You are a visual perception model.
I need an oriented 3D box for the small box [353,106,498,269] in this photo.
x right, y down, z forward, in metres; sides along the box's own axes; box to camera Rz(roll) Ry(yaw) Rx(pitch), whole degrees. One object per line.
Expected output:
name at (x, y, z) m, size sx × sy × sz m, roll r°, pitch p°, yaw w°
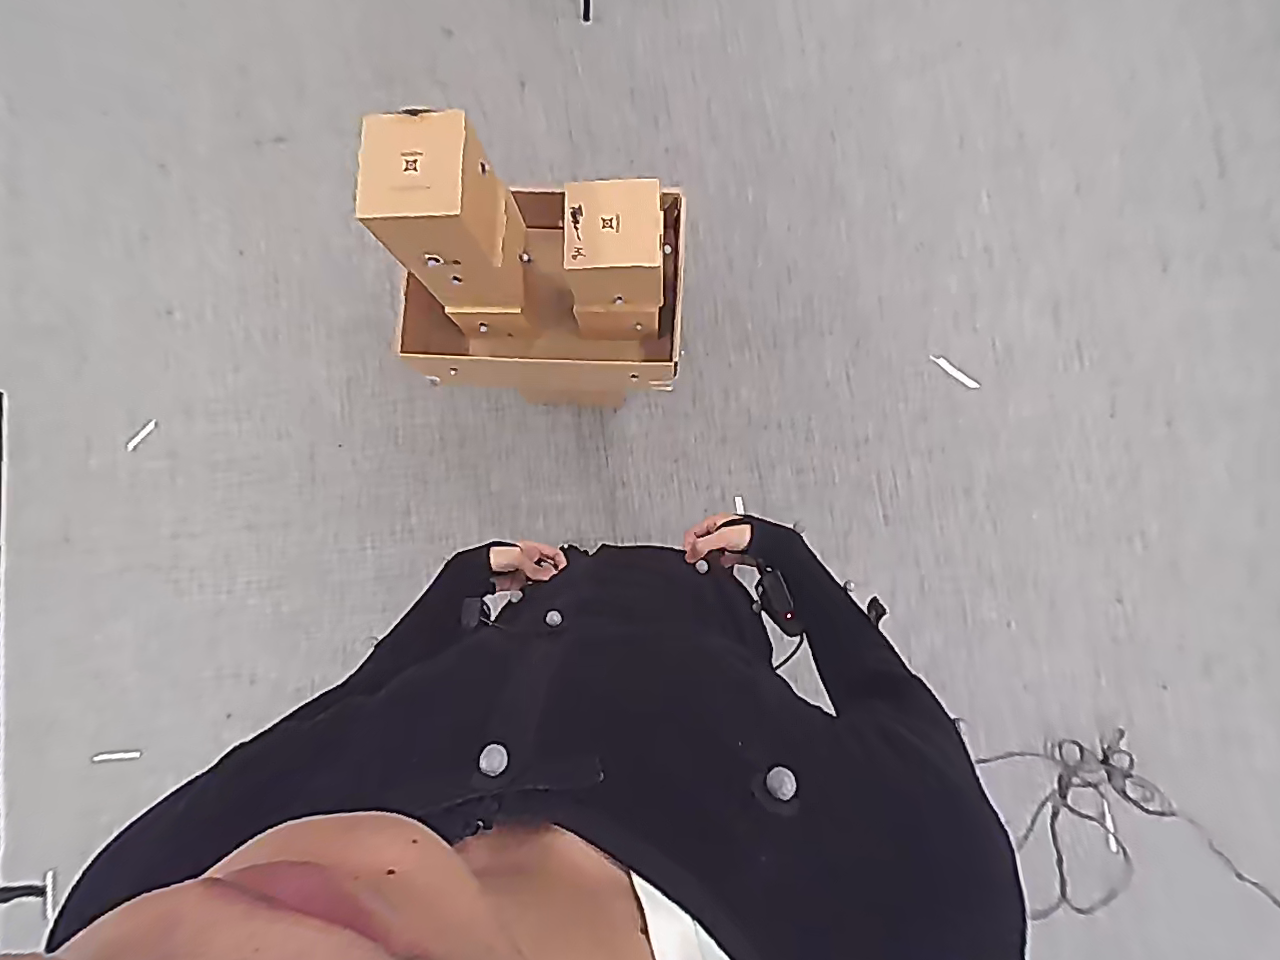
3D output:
small box at (-0.340, -0.473, 0.891) m, size 0.168 × 0.176 × 0.179 m, roll 1°, pitch 83°, yaw 4°

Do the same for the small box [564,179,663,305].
small box at (-0.044, -0.445, 1.032) m, size 0.179 × 0.176 × 0.168 m, roll 0°, pitch 85°, yaw 2°

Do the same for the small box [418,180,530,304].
small box at (-0.327, -0.456, 1.054) m, size 0.179 × 0.176 × 0.168 m, roll 3°, pitch 84°, yaw 3°

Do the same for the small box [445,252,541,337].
small box at (-0.323, -0.432, 1.216) m, size 0.168 × 0.176 × 0.179 m, roll 1°, pitch 84°, yaw 2°
